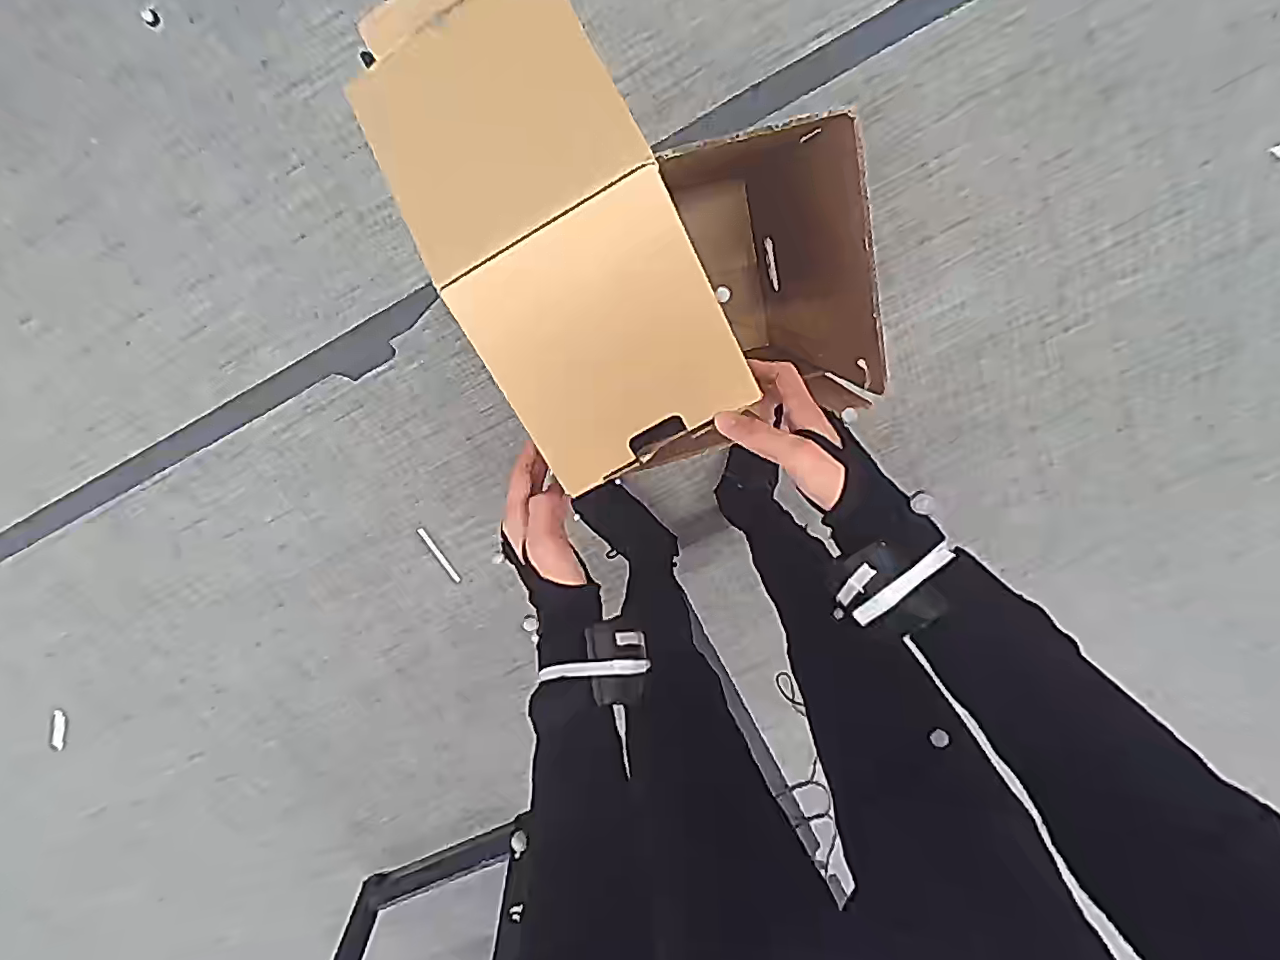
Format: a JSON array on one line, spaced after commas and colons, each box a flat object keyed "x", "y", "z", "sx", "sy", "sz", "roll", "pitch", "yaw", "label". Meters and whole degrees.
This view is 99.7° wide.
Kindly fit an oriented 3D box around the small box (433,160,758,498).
[{"x": -0.027, "y": -0.119, "z": 0.441, "sx": 0.168, "sy": 0.176, "sz": 0.179, "roll": -28, "pitch": 109, "yaw": 8, "label": "small box"}]
